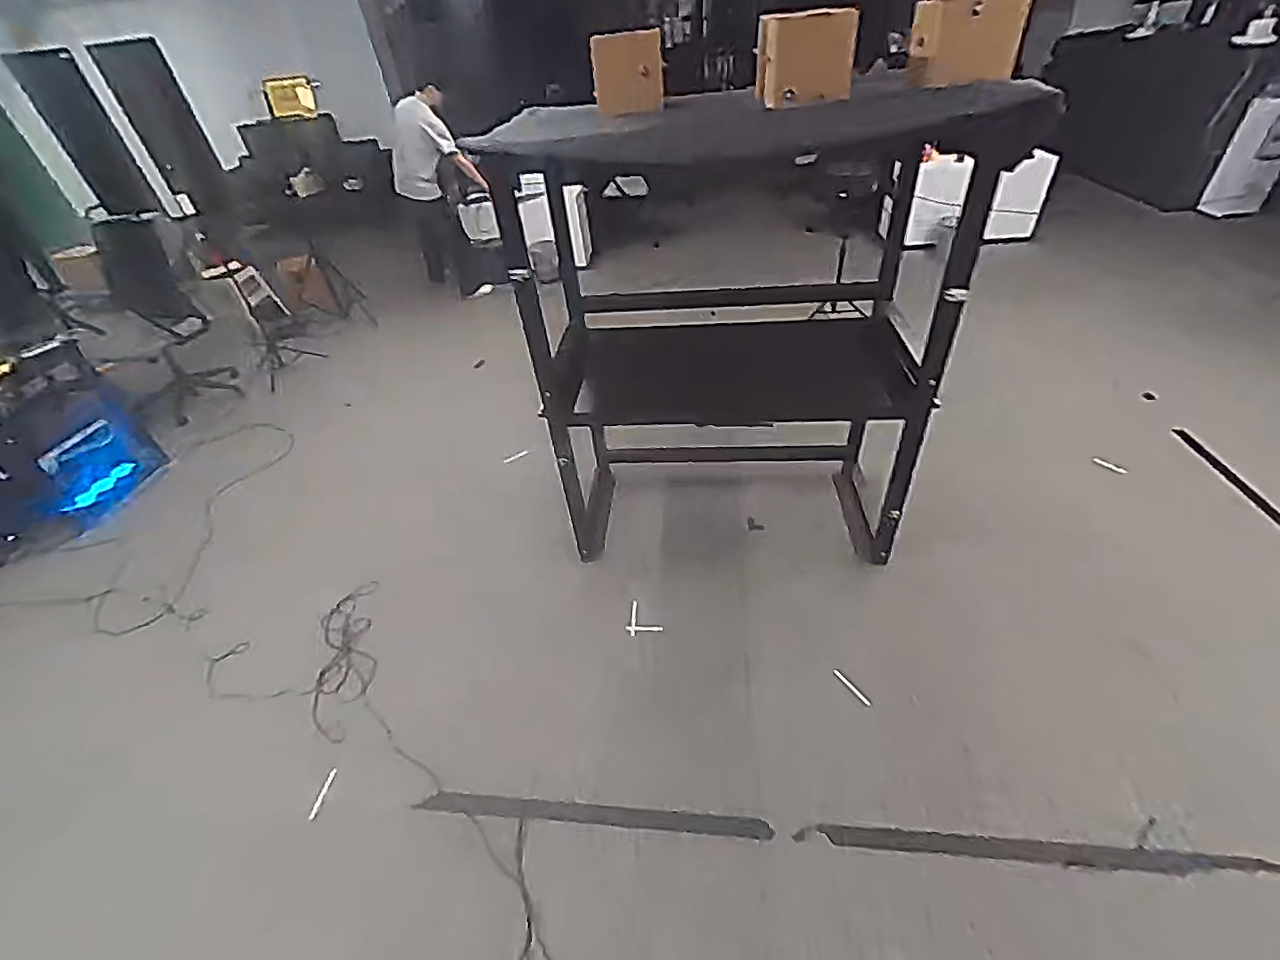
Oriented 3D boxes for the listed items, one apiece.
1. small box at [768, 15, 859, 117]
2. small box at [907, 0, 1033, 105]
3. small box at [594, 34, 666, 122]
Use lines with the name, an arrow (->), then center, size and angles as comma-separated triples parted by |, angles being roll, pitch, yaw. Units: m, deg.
small box -> 0.388, -0.945, 1.239 | 0.168, 0.176, 0.179 | -2, 40, 6
small box -> 0.700, -0.927, 1.174 | 0.168, 0.176, 0.179 | -1, 39, 7
small box -> -0.021, -1.078, 1.450 | 0.179, 0.176, 0.168 | -2, 40, 5
